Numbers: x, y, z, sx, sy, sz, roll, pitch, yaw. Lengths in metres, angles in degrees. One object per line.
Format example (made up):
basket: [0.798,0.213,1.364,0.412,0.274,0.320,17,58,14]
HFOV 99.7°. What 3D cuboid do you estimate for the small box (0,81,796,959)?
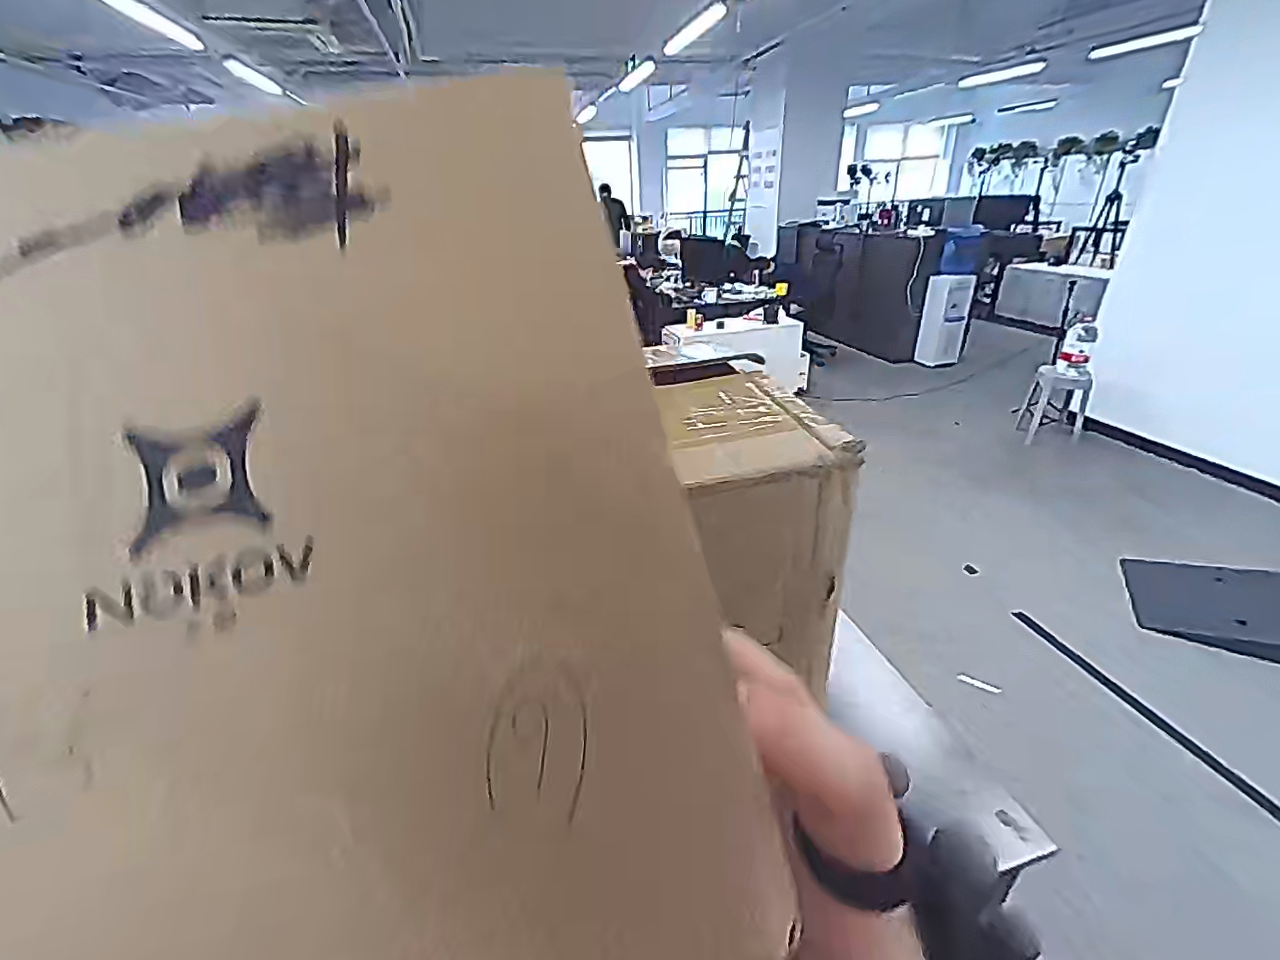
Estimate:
small box: [-0.076,0.034,0.166,0.168,0.179,0.176,-13,-13,-6]
